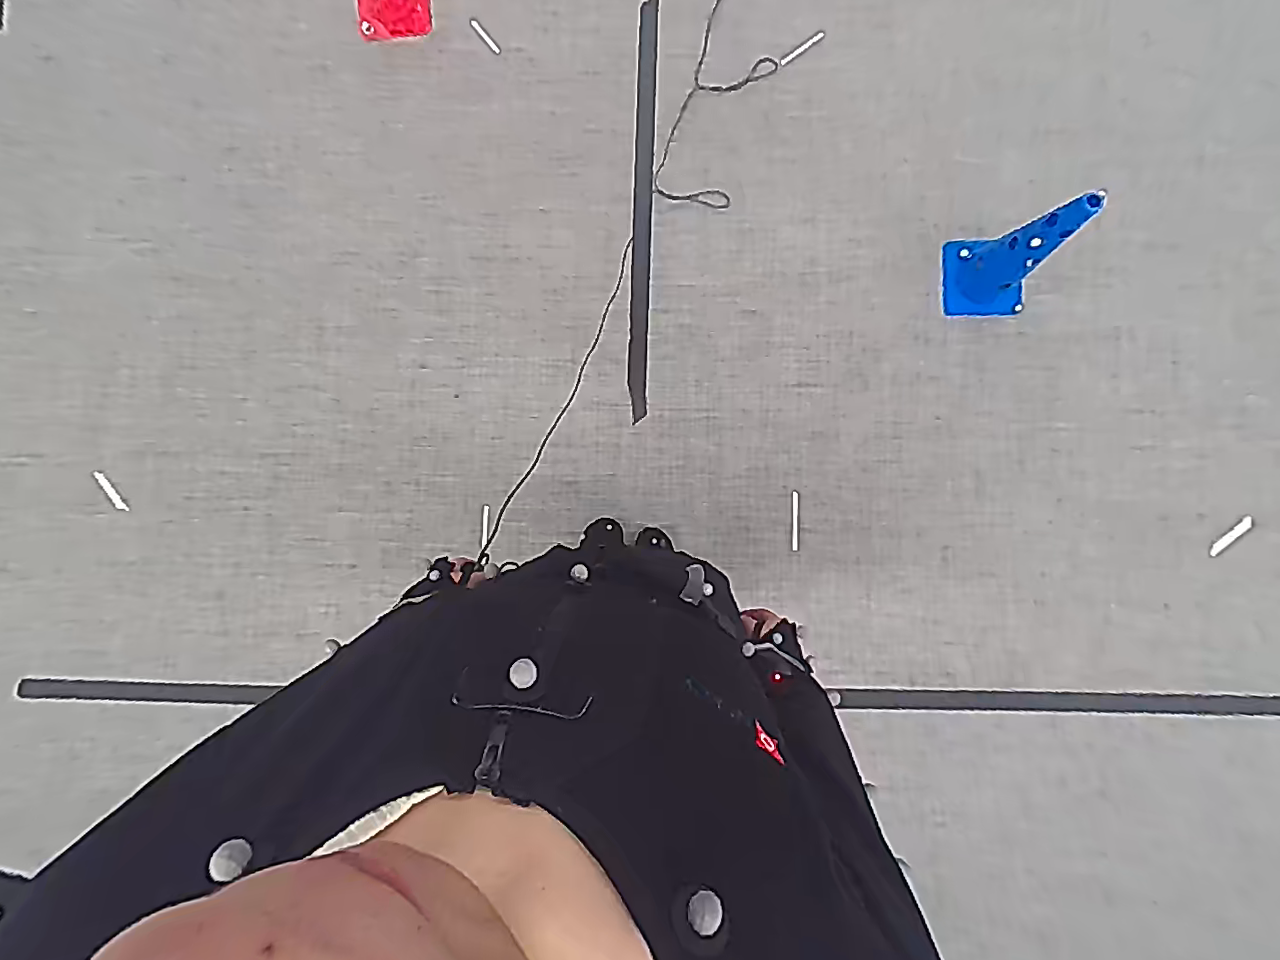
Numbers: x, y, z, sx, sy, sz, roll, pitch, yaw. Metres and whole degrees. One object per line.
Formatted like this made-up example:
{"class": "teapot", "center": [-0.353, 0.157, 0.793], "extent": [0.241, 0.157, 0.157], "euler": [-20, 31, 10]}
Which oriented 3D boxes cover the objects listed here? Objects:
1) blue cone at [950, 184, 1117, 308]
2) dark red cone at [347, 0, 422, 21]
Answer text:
{"class": "blue cone", "center": [0.889, -0.542, 1.220], "extent": [0.192, 0.380, 0.193], "euler": [2, 87, 1]}
{"class": "dark red cone", "center": [-0.685, -1.329, 1.276], "extent": [0.201, 0.394, 0.202], "euler": [-7, 87, 0]}
